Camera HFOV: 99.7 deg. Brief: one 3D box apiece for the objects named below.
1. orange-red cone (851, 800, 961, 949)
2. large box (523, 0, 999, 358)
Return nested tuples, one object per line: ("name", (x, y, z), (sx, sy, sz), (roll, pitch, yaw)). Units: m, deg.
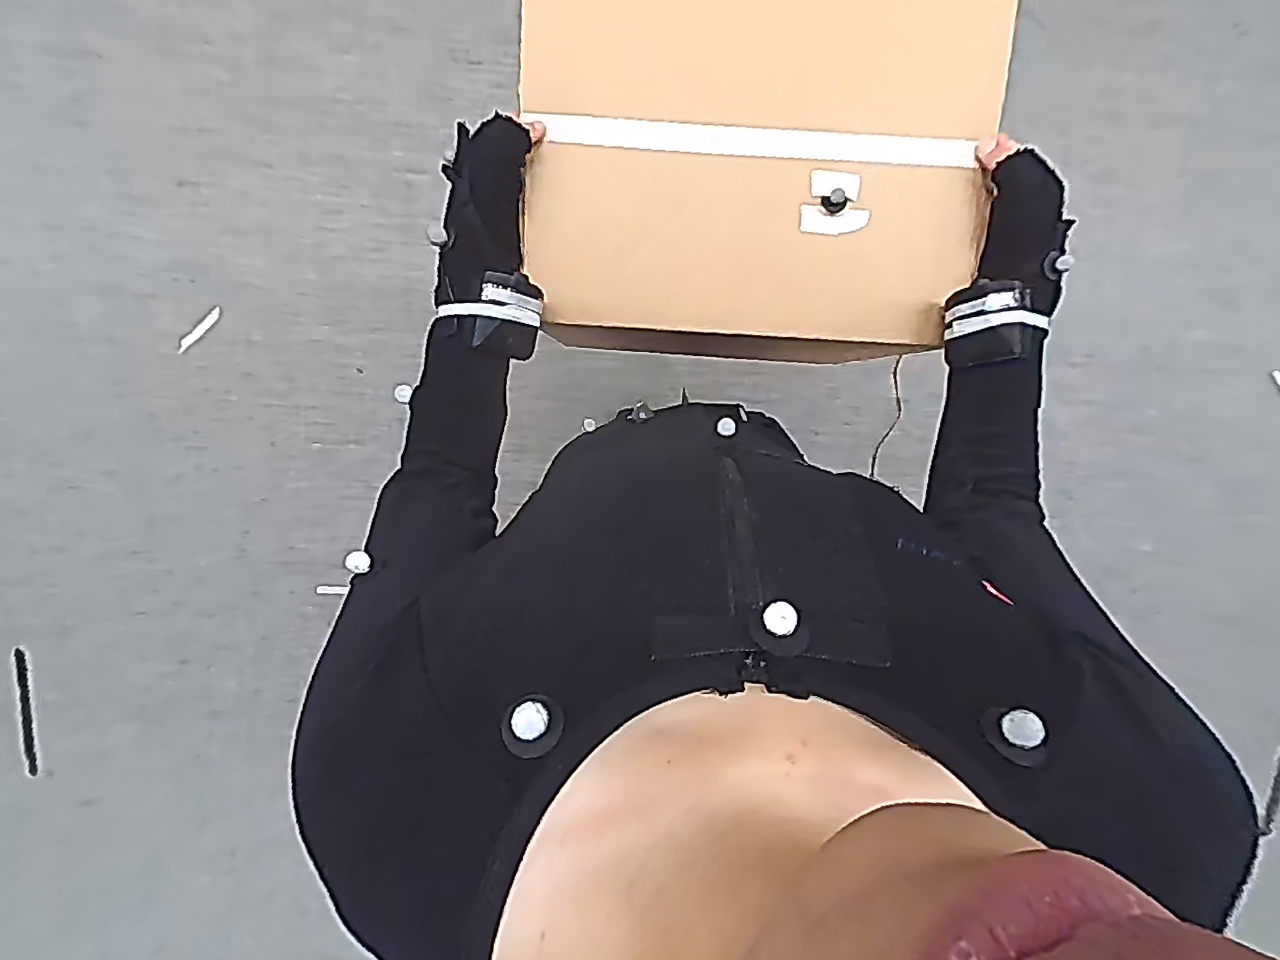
("orange-red cone", (0.736, 1.067, 1.449), (0.198, 0.360, 0.199), (1, 96, -1))
("large box", (0.093, -0.311, 0.612), (0.408, 0.320, 0.320), (2, 100, -2))
